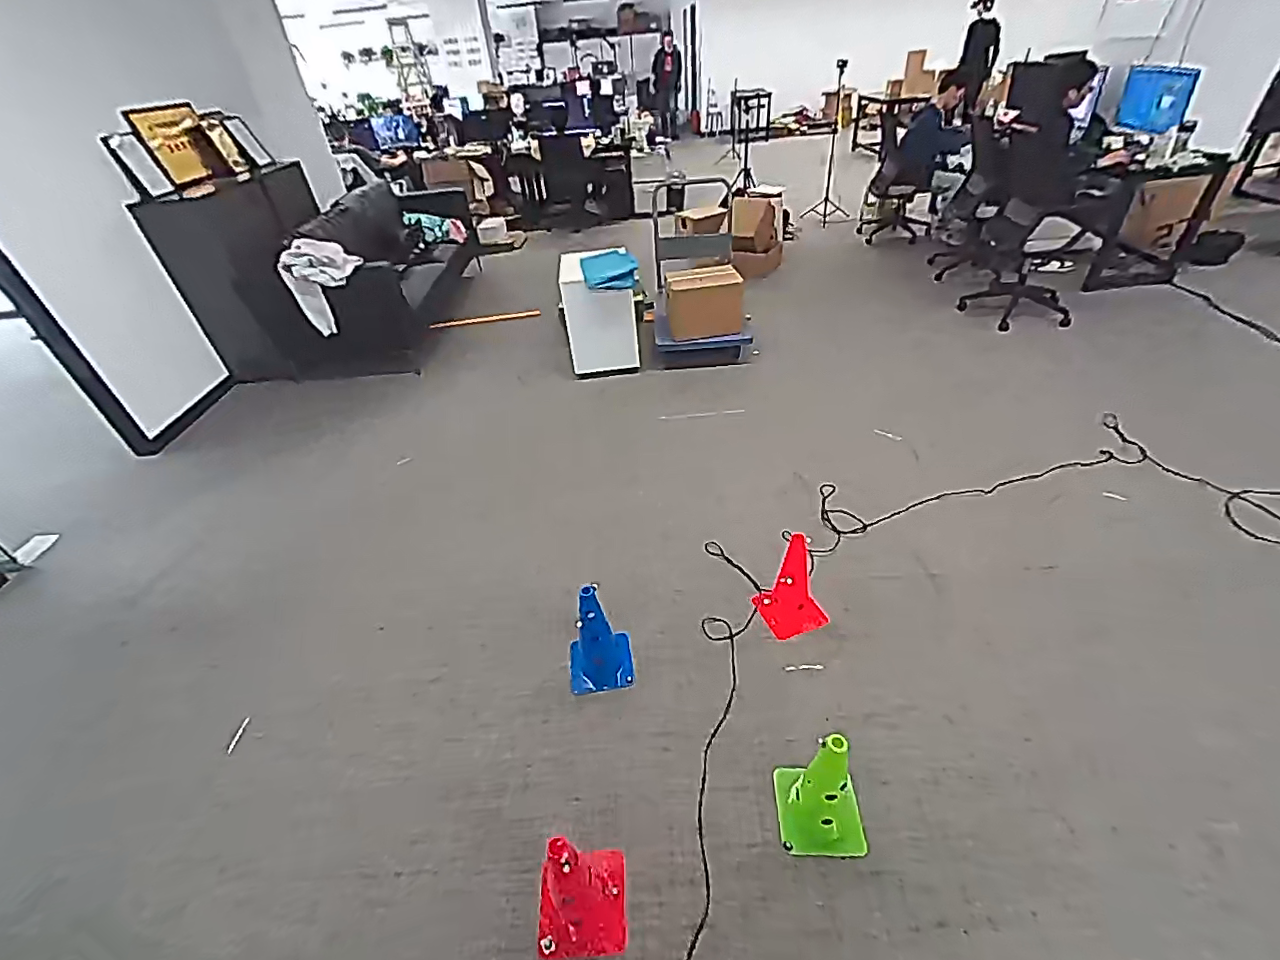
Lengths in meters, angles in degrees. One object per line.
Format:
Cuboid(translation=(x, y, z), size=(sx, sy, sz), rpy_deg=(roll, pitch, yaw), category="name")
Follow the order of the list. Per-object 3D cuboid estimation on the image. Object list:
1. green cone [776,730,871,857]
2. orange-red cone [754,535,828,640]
Cuboid(translation=(0.442, 0.697, 1.255), size=(0.200, 0.368, 0.202), rpy_deg=(-2, 37, 4), category="green cone")
Cuboid(translation=(0.498, 0.314, 1.741), size=(0.198, 0.360, 0.199), rpy_deg=(-16, 40, -11), category="orange-red cone")
